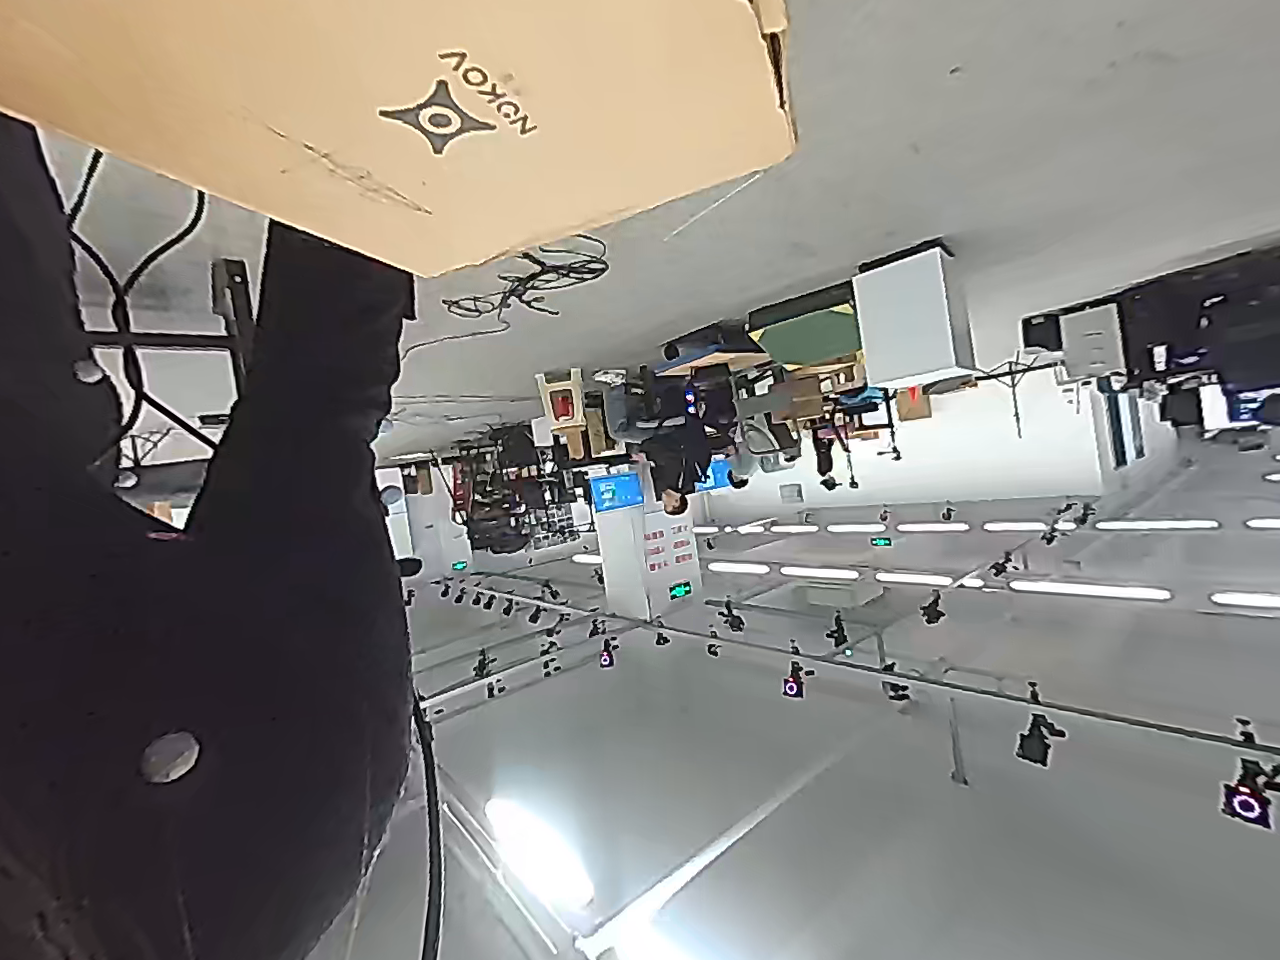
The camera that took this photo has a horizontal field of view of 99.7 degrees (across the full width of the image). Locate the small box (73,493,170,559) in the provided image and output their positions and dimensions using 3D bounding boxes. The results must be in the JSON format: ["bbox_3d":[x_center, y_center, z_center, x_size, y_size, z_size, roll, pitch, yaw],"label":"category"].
[{"bbox_3d":[-1.546,0.132,1.619,0.168,0.176,0.179,-9,-179,-29],"label":"small box"}]
